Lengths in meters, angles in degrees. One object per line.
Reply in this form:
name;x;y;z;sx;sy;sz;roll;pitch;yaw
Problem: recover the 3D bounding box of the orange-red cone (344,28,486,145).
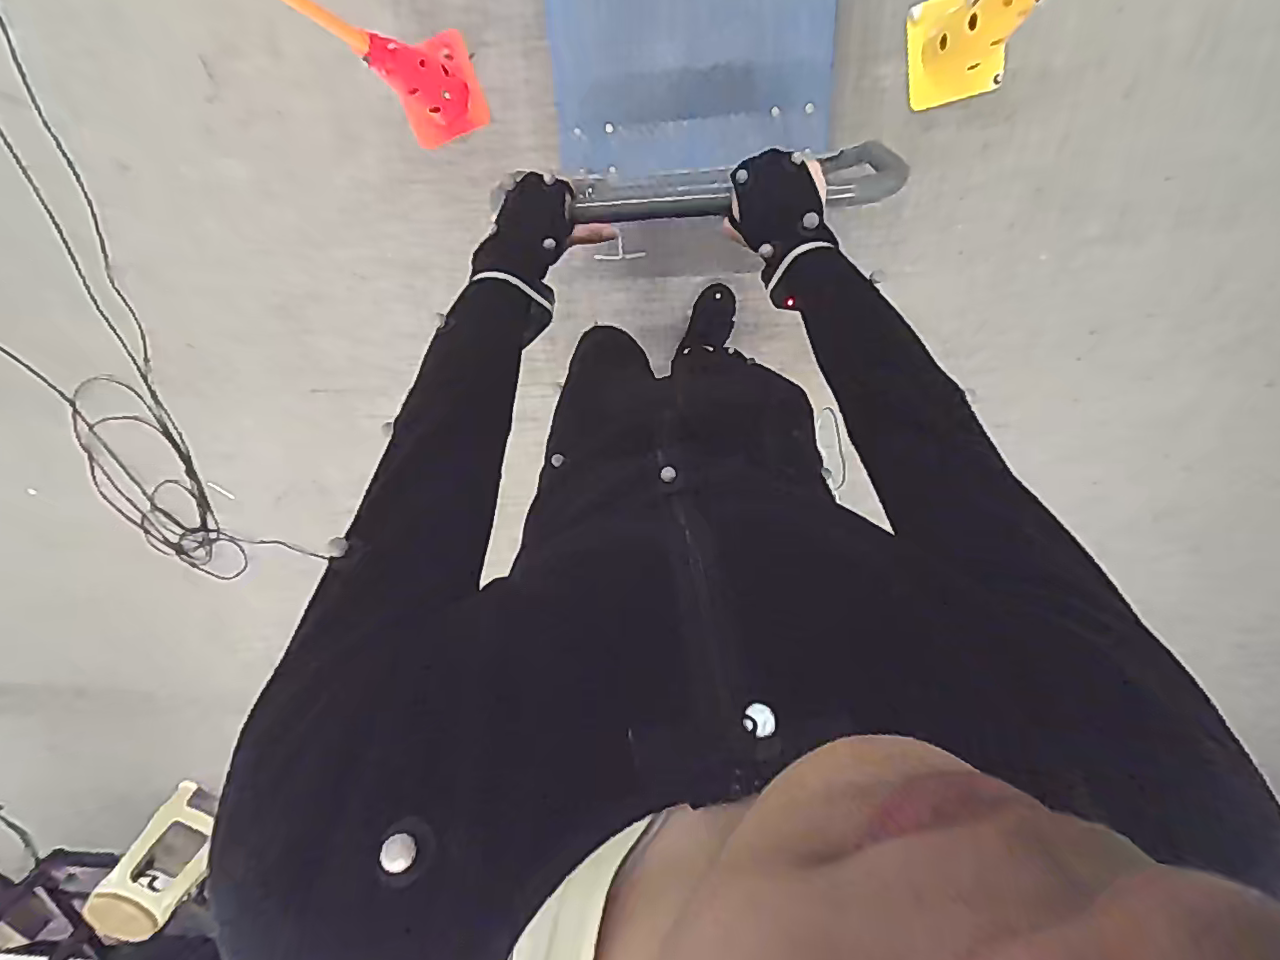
orange-red cone;-0.506;-0.871;1.147;0.199;0.360;0.198;-14;111;13
